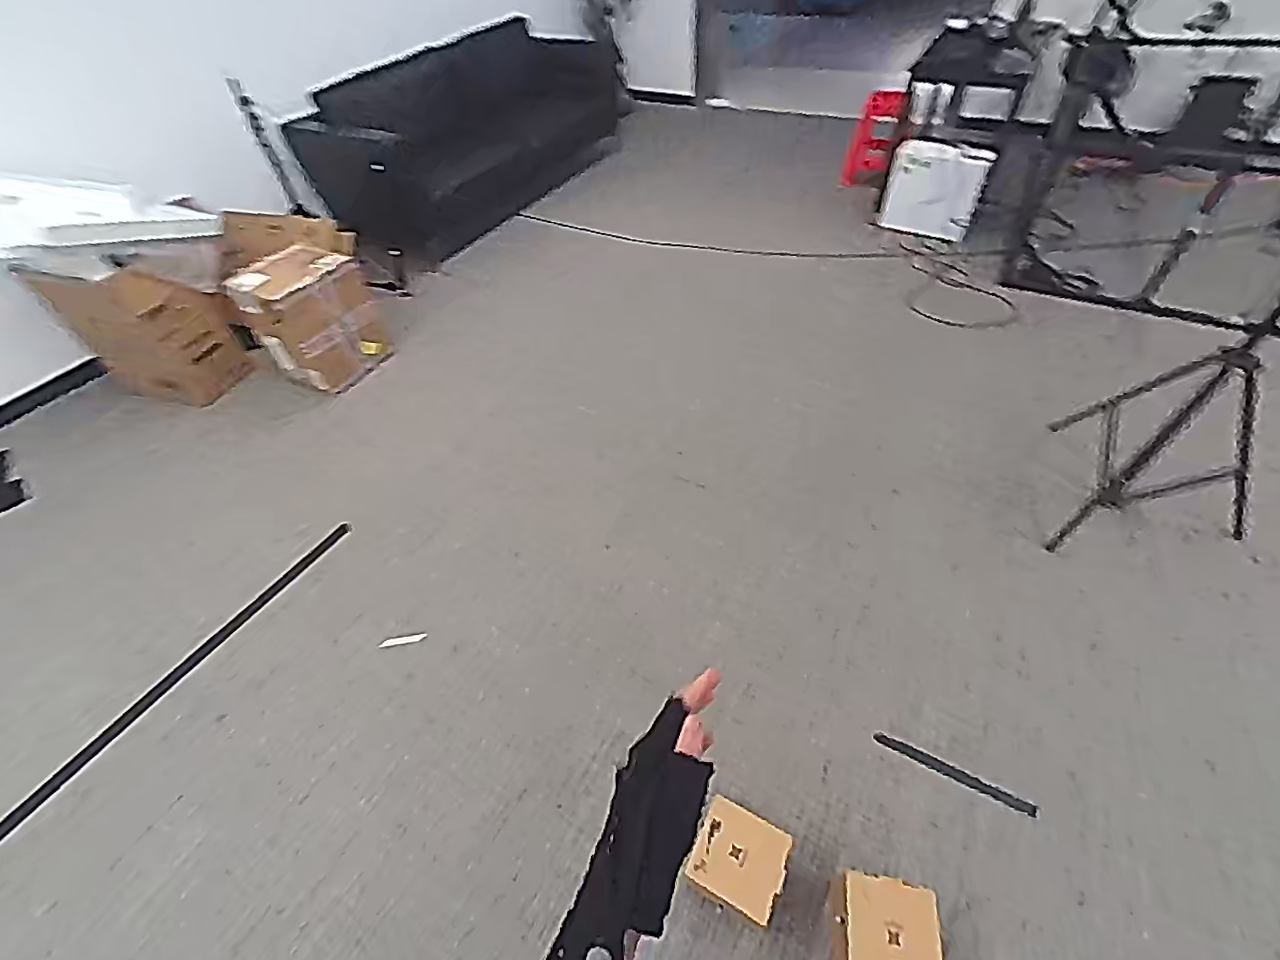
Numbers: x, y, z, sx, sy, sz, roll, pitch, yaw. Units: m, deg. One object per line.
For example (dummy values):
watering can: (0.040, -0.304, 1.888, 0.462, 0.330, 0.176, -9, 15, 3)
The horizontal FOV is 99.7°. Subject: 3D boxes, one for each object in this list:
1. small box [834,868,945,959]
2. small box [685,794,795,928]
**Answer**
small box: (0.479, 0.893, 1.056, 0.168, 0.176, 0.179, 6, 50, 12)
small box: (0.209, 0.813, 1.154, 0.179, 0.176, 0.168, 21, 53, 22)
